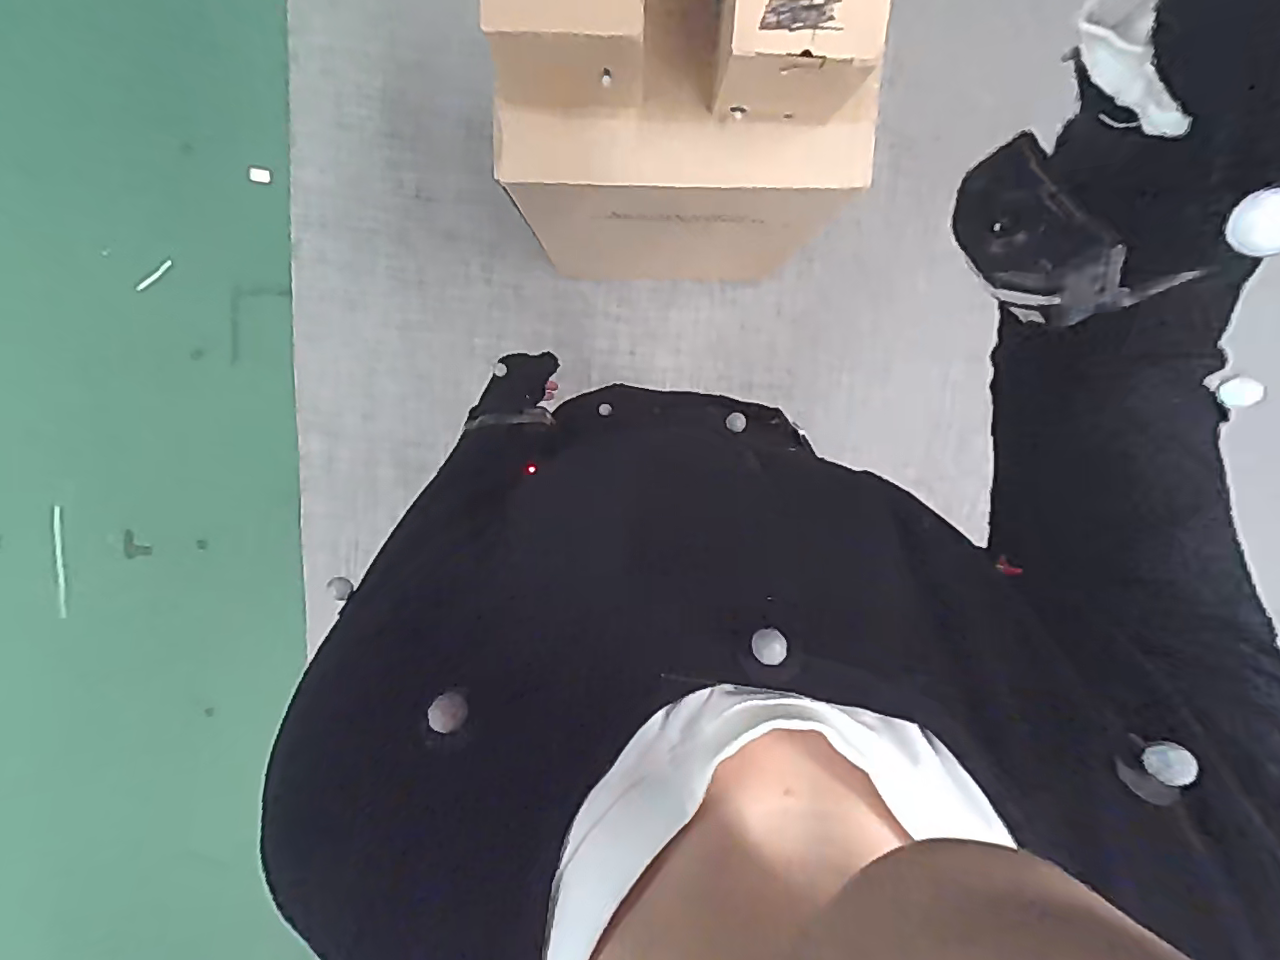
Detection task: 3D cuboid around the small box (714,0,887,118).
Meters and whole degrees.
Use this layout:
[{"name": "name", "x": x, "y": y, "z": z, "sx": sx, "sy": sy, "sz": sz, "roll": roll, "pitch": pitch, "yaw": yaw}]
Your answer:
[{"name": "small box", "x": 0.184, "y": -0.562, "z": 0.643, "sx": 0.168, "sy": 0.176, "sz": 0.179, "roll": 4, "pitch": 103, "yaw": -1}]

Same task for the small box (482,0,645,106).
[{"name": "small box", "x": -0.081, "y": -0.576, "z": 0.645, "sx": 0.179, "sy": 0.176, "sz": 0.168, "roll": 1, "pitch": 102, "yaw": 1}]
